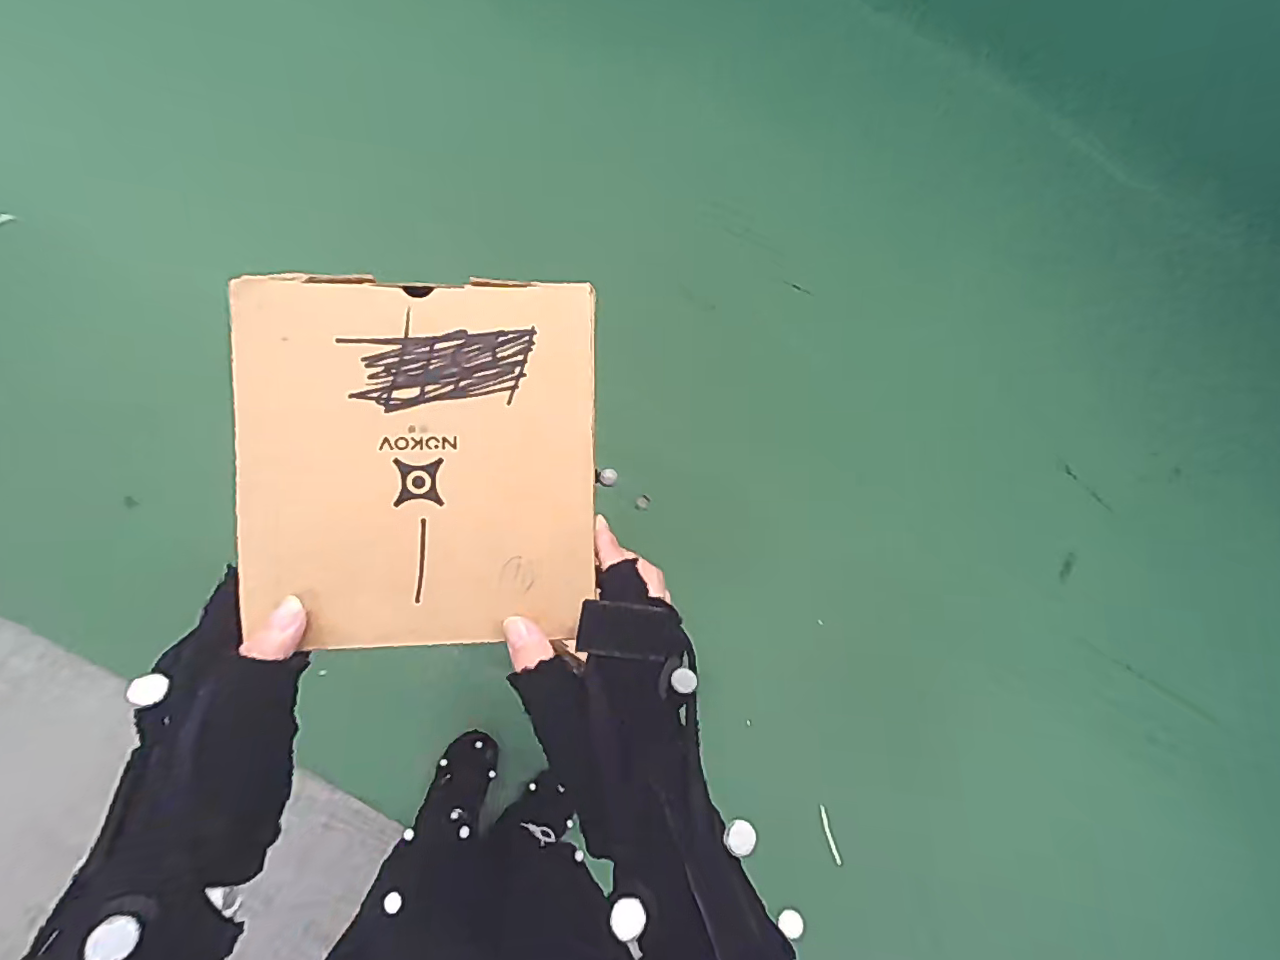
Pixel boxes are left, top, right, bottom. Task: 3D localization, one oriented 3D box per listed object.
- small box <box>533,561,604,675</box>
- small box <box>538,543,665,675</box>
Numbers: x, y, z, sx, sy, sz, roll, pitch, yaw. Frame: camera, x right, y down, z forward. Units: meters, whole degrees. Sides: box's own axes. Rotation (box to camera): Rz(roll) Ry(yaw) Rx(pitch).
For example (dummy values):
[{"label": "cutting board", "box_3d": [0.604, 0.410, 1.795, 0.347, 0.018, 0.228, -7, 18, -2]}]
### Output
[{"label": "small box", "box_3d": [-0.115, 0.297, 1.166, 0.168, 0.176, 0.179, 35, 69, -2]}, {"label": "small box", "box_3d": [-0.078, 0.248, 1.034, 0.168, 0.176, 0.179, 34, 70, -1]}]
